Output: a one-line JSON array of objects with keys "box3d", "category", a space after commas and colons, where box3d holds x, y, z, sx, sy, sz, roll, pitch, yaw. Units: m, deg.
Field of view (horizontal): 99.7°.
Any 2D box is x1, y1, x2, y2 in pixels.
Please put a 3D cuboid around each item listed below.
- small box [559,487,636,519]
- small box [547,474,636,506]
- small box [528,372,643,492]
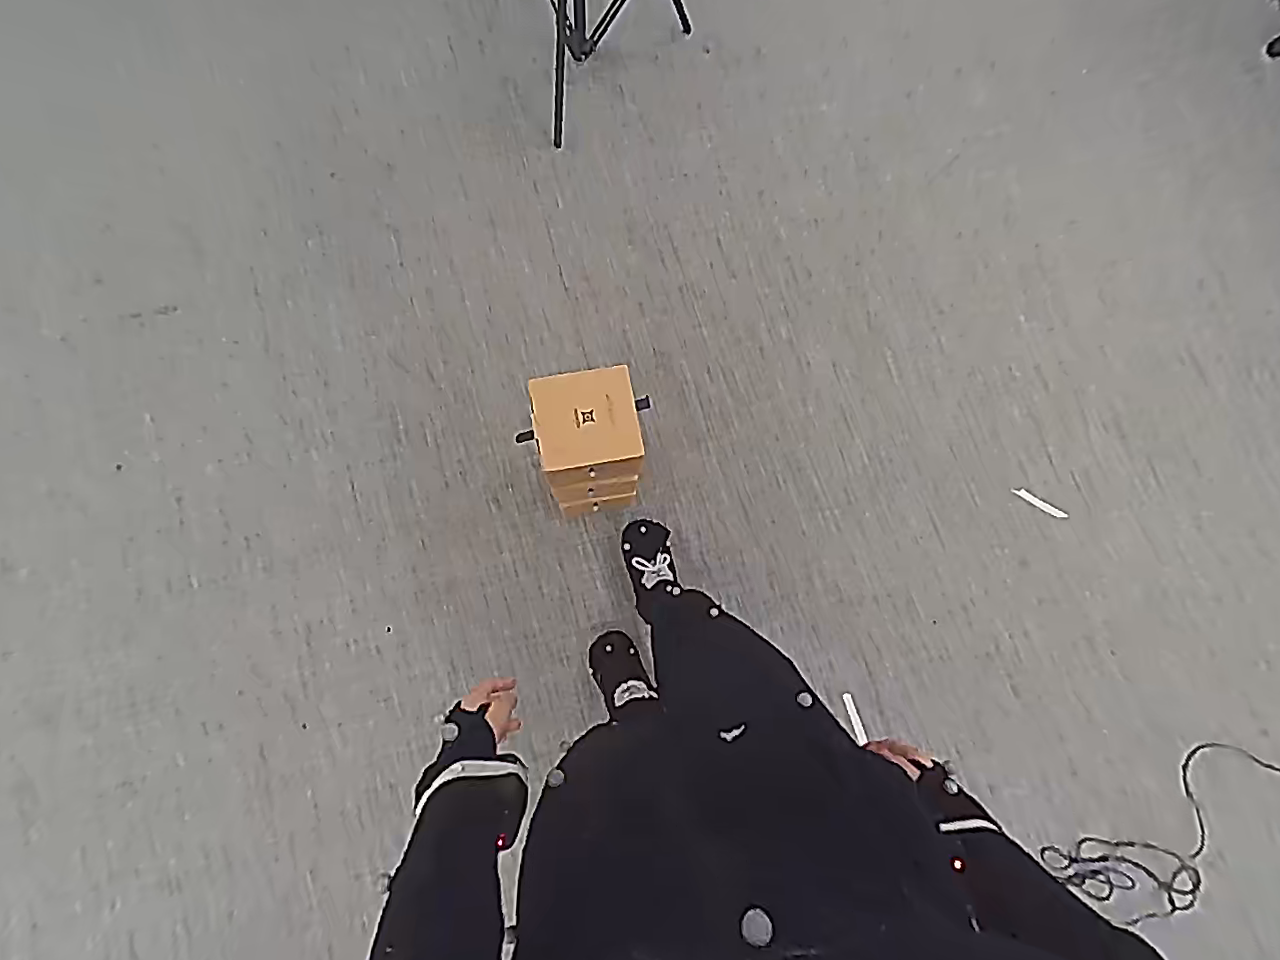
[{"box3d": [-0.116, -0.005, 1.311, 0.179, 0.176, 0.168, -10, 80, -6], "category": "small box"}, {"box3d": [-0.107, -0.043, 1.151, 0.179, 0.176, 0.168, -7, 80, -5], "category": "small box"}, {"box3d": [-0.097, -0.080, 0.993, 0.179, 0.176, 0.168, -10, 81, -6], "category": "small box"}]
